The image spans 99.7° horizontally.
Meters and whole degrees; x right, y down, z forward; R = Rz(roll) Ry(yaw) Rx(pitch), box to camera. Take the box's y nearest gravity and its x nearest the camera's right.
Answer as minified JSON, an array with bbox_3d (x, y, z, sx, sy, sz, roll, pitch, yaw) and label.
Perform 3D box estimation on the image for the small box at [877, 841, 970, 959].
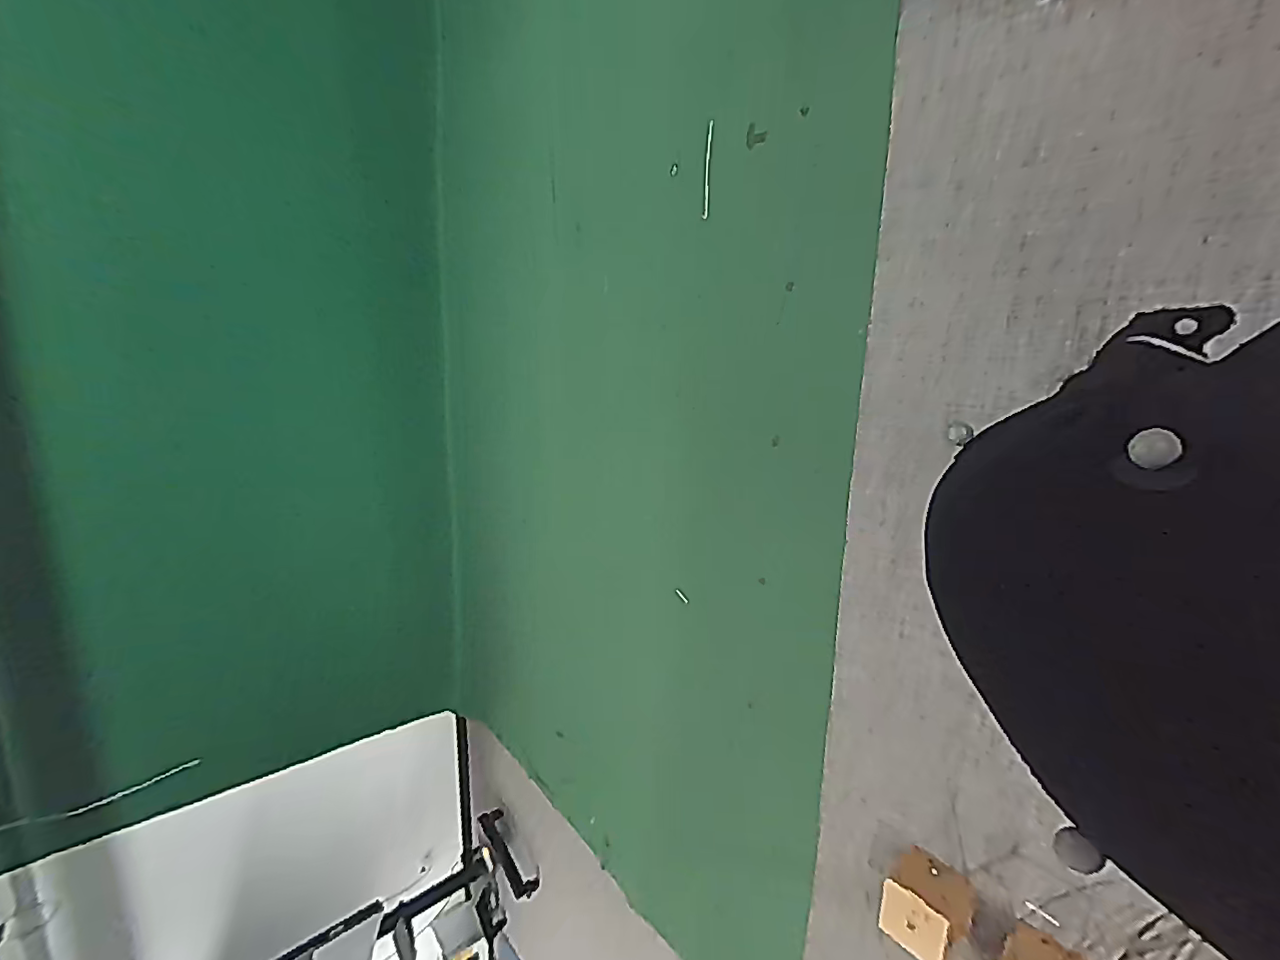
[{"bbox_3d":[0.787,1.162,1.500,0.168,0.176,0.179,16,107,48],"label":"small box"}]
